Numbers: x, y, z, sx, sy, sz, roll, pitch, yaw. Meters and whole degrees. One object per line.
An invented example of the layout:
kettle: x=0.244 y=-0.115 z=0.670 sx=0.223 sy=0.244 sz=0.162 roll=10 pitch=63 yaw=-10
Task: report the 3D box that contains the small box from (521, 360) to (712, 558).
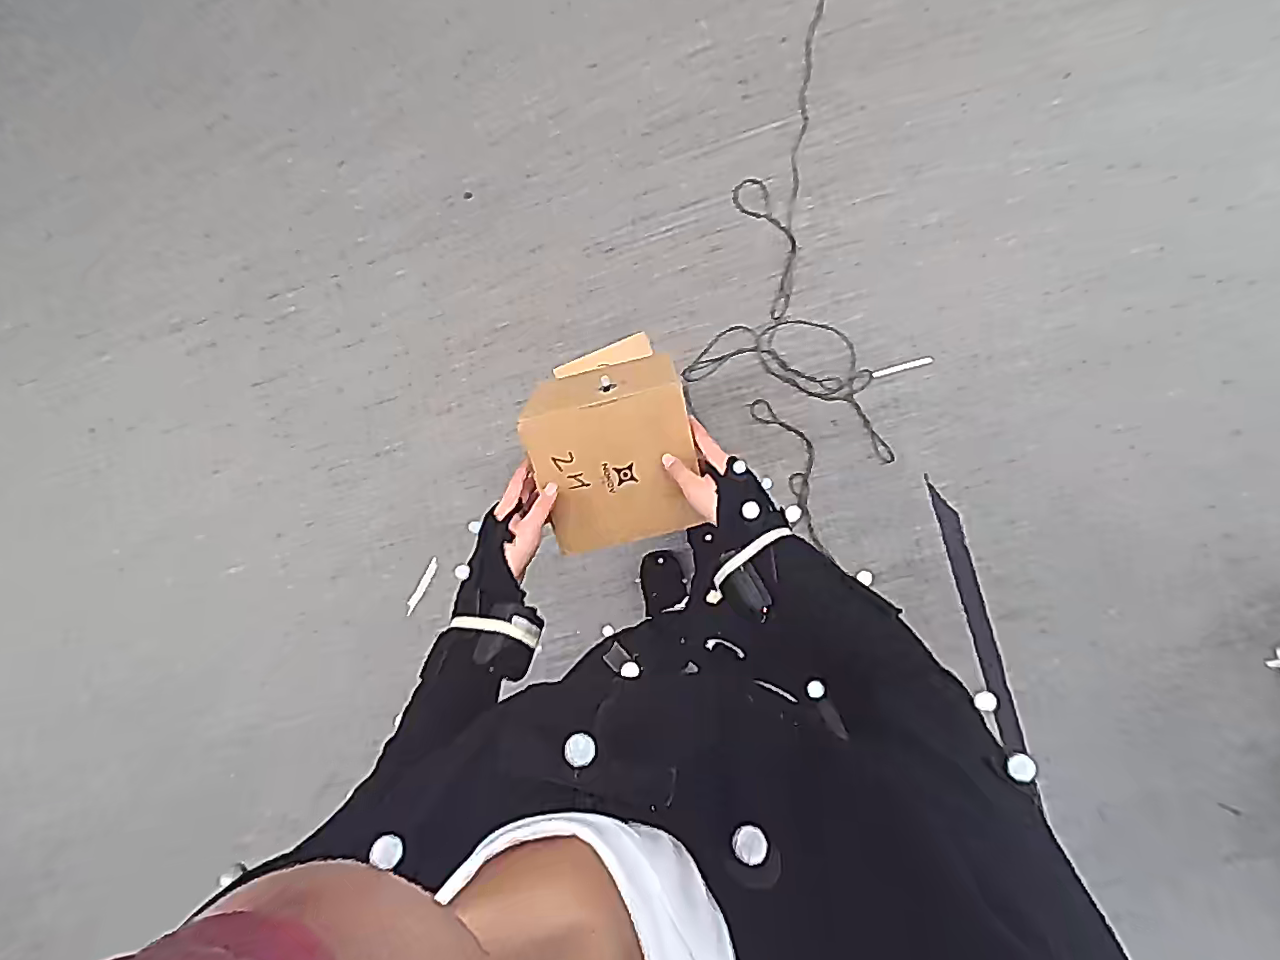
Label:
small box: x=-0.024 y=-0.034 z=0.647 sx=0.179 sy=0.176 sz=0.168 roll=-13 pitch=113 yaw=4
